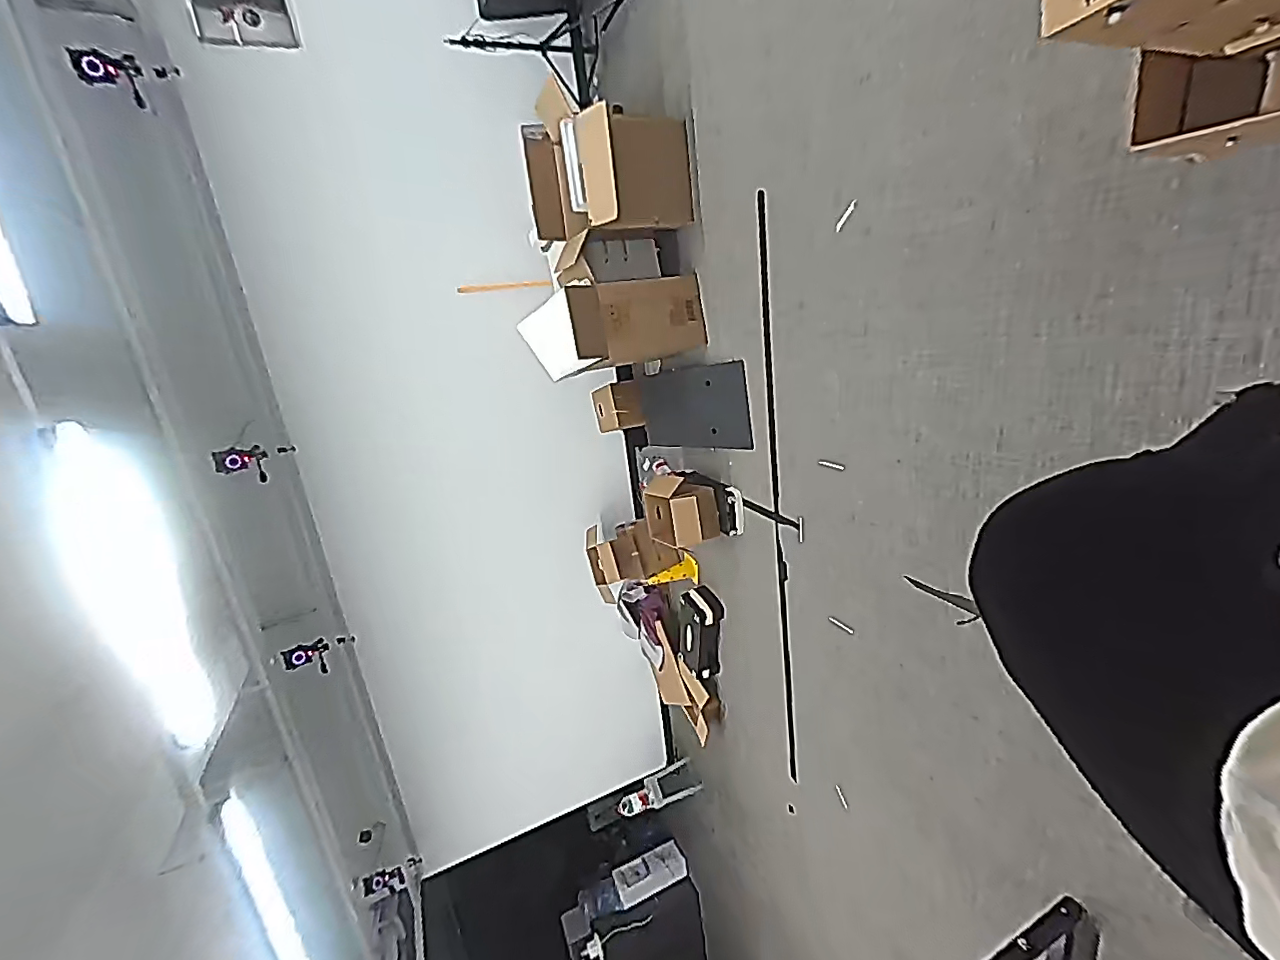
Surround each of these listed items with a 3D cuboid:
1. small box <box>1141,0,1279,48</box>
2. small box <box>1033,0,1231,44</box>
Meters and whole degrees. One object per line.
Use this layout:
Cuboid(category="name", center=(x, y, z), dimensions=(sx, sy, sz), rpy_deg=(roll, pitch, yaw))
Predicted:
Cuboid(category="small box", center=(0.711, -0.636, 0.619), dimensions=(0.168, 0.176, 0.179), rpy_deg=(-154, 53, -64))
Cuboid(category="small box", center=(0.558, -0.601, 0.567), dimensions=(0.168, 0.176, 0.179), rpy_deg=(-152, 53, -65))
